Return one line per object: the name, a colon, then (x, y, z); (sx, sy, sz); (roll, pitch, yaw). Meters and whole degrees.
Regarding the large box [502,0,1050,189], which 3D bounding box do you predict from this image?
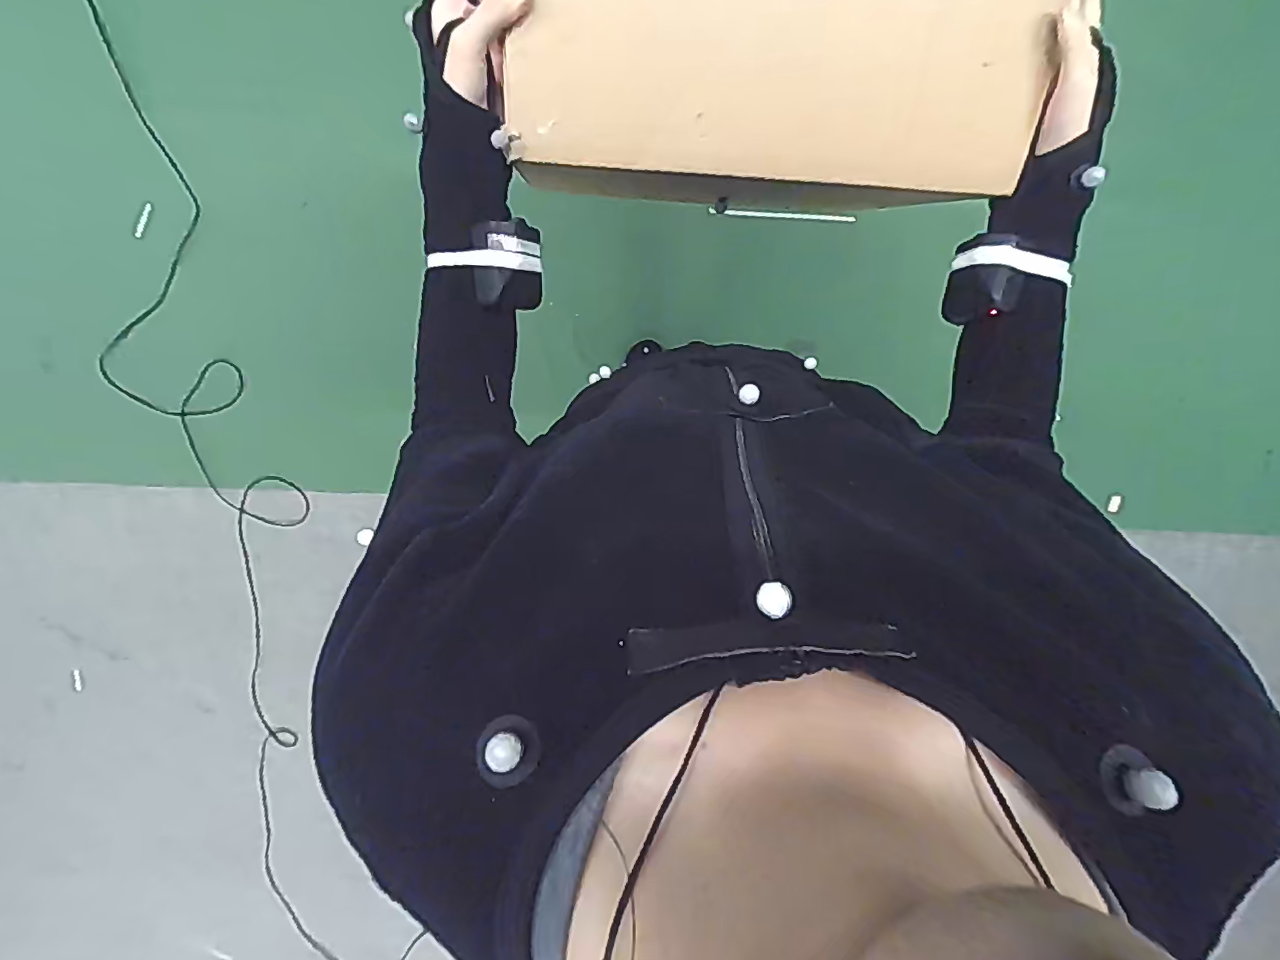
large box: (0.093, -0.449, 0.493); (0.408, 0.320, 0.320); (0, 115, -6)
